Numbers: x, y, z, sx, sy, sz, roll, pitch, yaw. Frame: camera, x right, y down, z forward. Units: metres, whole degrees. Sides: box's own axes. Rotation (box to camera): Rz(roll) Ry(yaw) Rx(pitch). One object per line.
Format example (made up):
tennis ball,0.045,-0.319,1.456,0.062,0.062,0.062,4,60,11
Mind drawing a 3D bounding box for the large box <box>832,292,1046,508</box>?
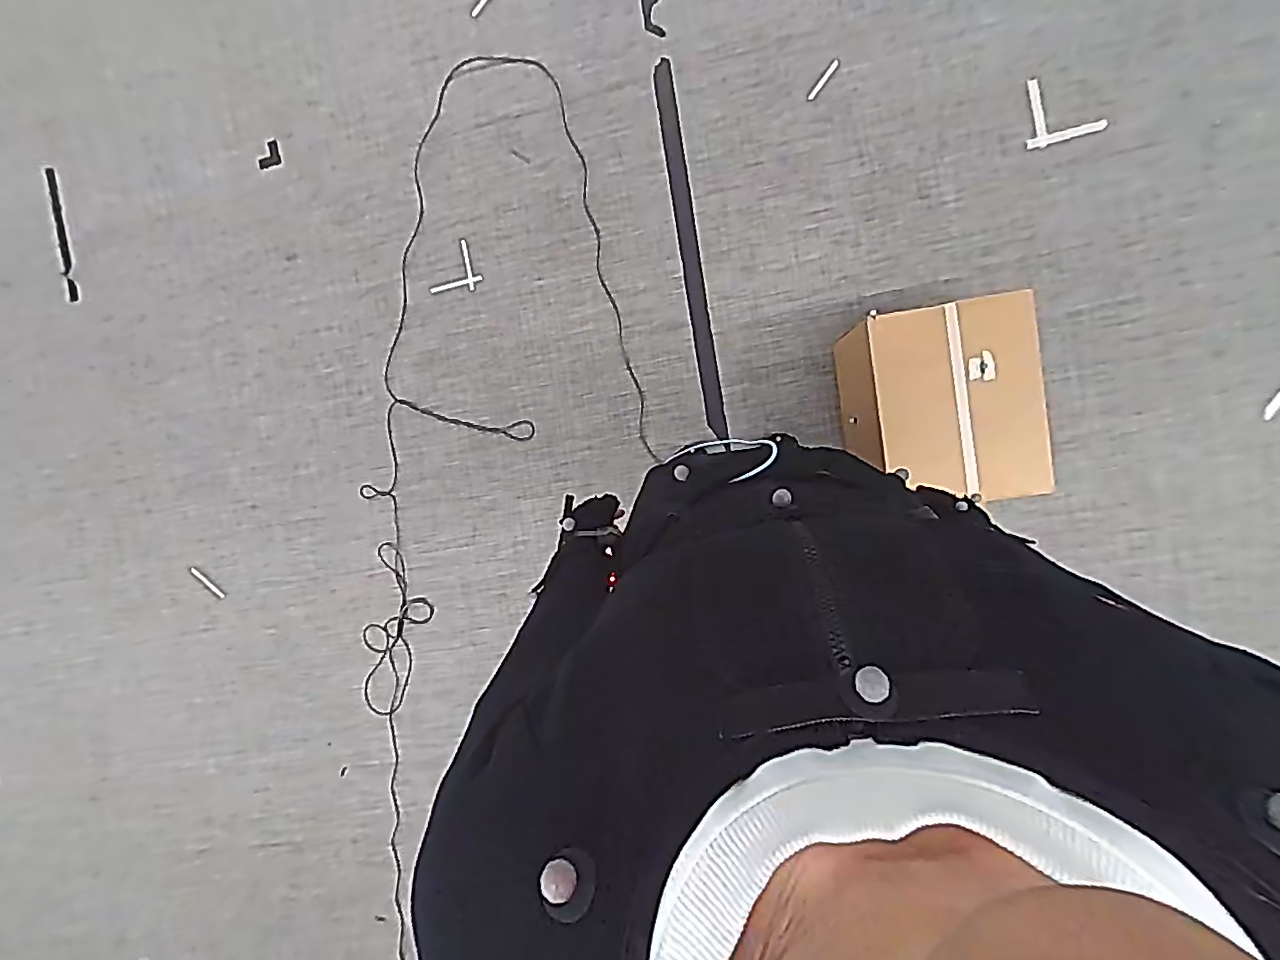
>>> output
large box,0.655,-0.164,1.247,0.320,0.320,0.408,-8,92,6
